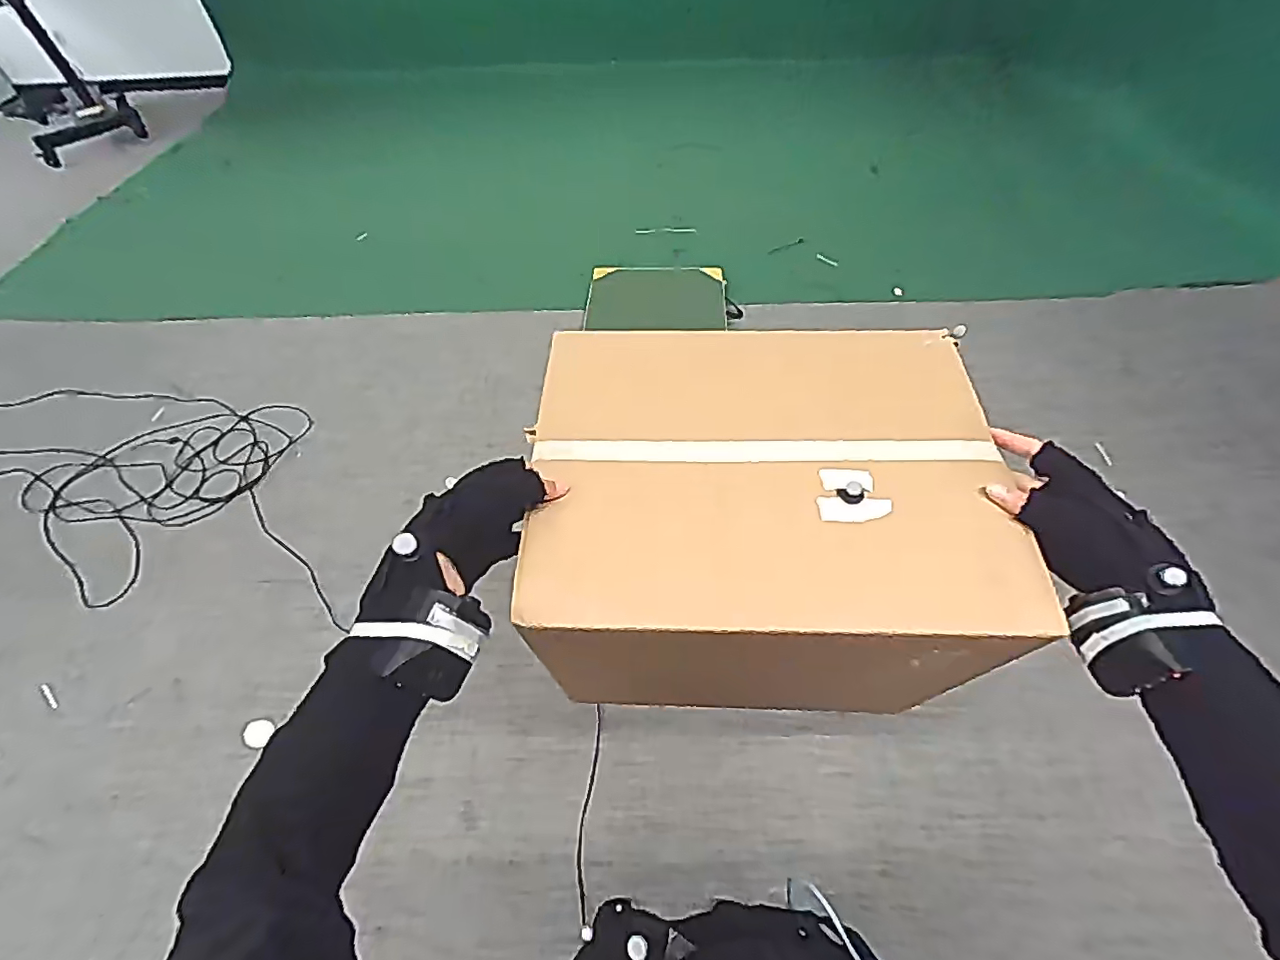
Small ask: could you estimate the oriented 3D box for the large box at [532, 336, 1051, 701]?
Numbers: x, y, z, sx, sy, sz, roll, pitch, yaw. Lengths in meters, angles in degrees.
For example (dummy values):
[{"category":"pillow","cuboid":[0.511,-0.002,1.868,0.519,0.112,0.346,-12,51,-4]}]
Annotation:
[{"category":"large box","cuboid":[0.115,0.058,0.613,0.408,0.320,0.320,1,58,1]}]
